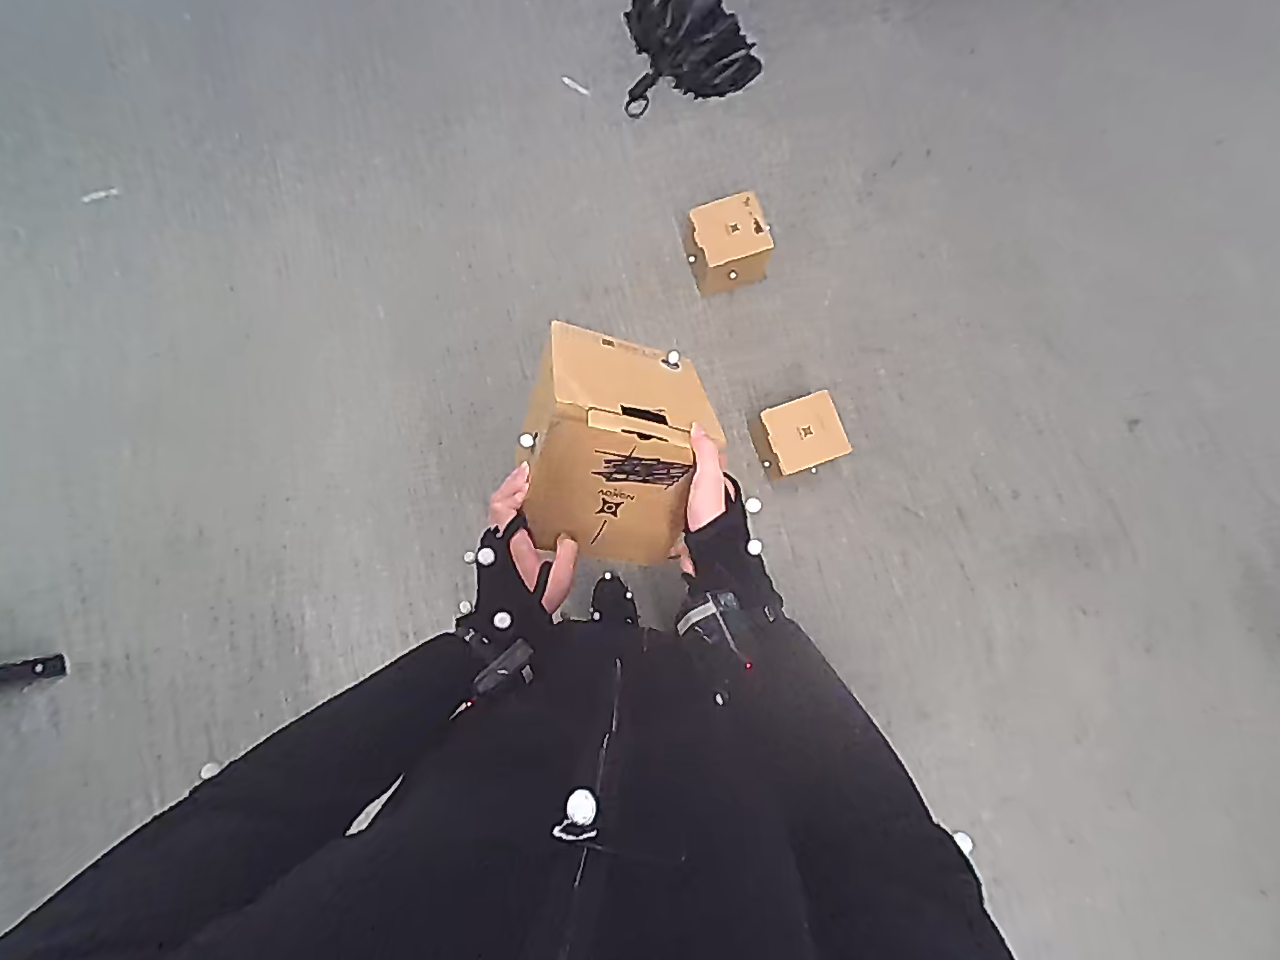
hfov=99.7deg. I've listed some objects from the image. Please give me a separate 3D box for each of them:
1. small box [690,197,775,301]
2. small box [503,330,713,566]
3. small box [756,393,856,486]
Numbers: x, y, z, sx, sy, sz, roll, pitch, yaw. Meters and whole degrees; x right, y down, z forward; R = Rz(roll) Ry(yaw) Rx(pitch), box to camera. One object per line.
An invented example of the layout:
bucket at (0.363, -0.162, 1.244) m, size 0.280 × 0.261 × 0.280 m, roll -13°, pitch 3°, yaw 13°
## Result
small box at (0.238, -0.605, 1.438) m, size 0.179 × 0.176 × 0.168 m, roll -19°, pitch 82°, yaw 0°
small box at (-0.045, -0.037, 0.580) m, size 0.168 × 0.176 × 0.179 m, roll 11°, pitch 126°, yaw -17°
small box at (0.405, -0.095, 1.359) m, size 0.179 × 0.176 × 0.168 m, roll -20°, pitch 83°, yaw -2°
